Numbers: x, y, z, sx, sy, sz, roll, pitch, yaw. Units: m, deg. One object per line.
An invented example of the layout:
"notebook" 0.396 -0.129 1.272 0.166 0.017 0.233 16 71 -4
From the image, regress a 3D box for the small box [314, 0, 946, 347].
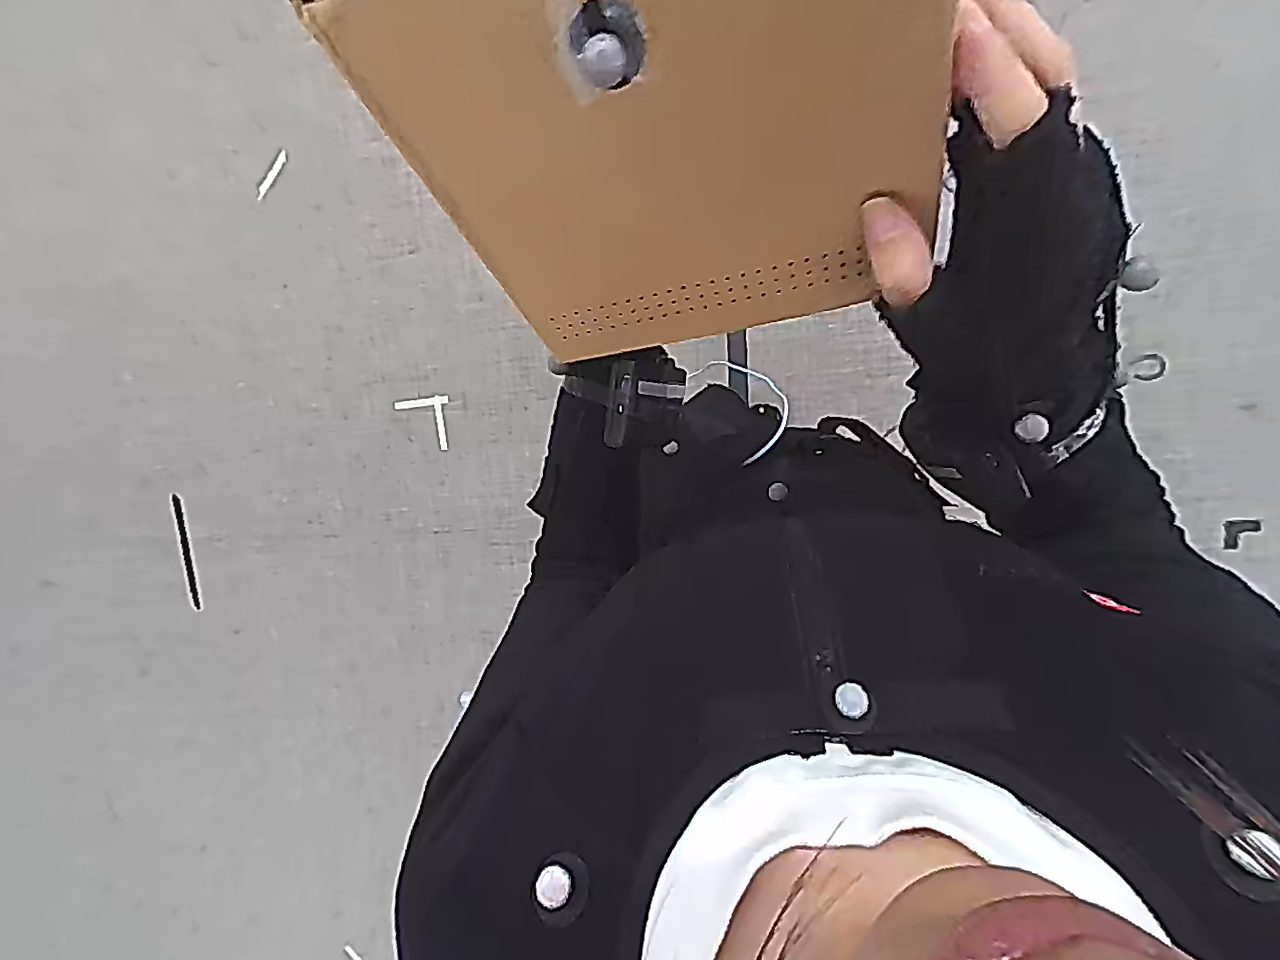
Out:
"small box" 0.019 -0.179 0.228 0.179 0.176 0.168 -7 61 20
